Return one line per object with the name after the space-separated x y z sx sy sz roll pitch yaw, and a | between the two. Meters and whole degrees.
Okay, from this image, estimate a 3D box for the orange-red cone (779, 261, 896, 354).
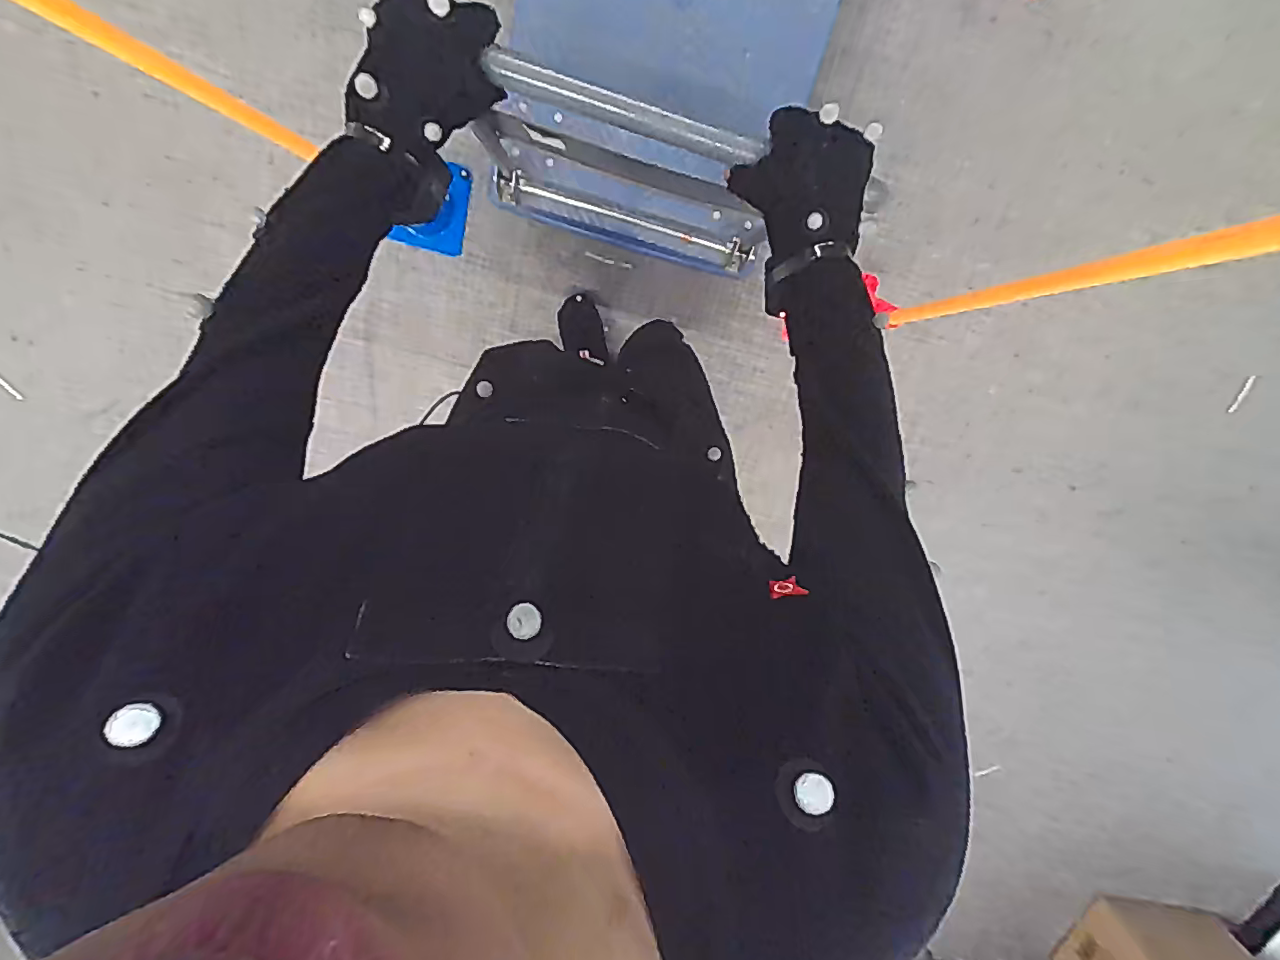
0.474 -0.379 1.214 0.199 0.360 0.198 14 108 -5 | orange-red cone
